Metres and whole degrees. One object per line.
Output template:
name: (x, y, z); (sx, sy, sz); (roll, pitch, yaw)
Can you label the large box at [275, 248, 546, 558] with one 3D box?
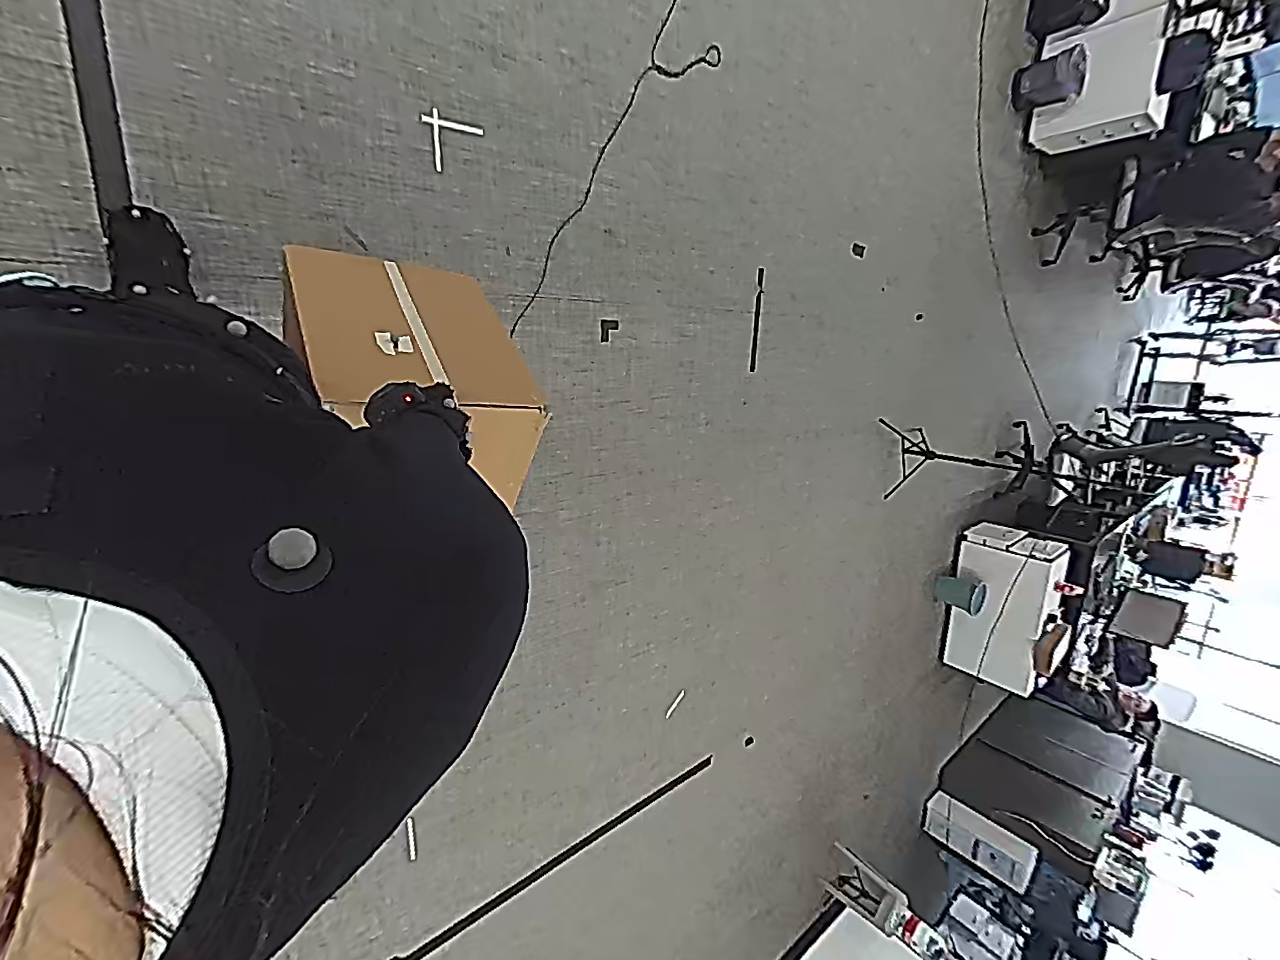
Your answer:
large box: (-0.418, -0.130, 0.931); (0.320, 0.408, 0.320); (-5, 139, -37)
